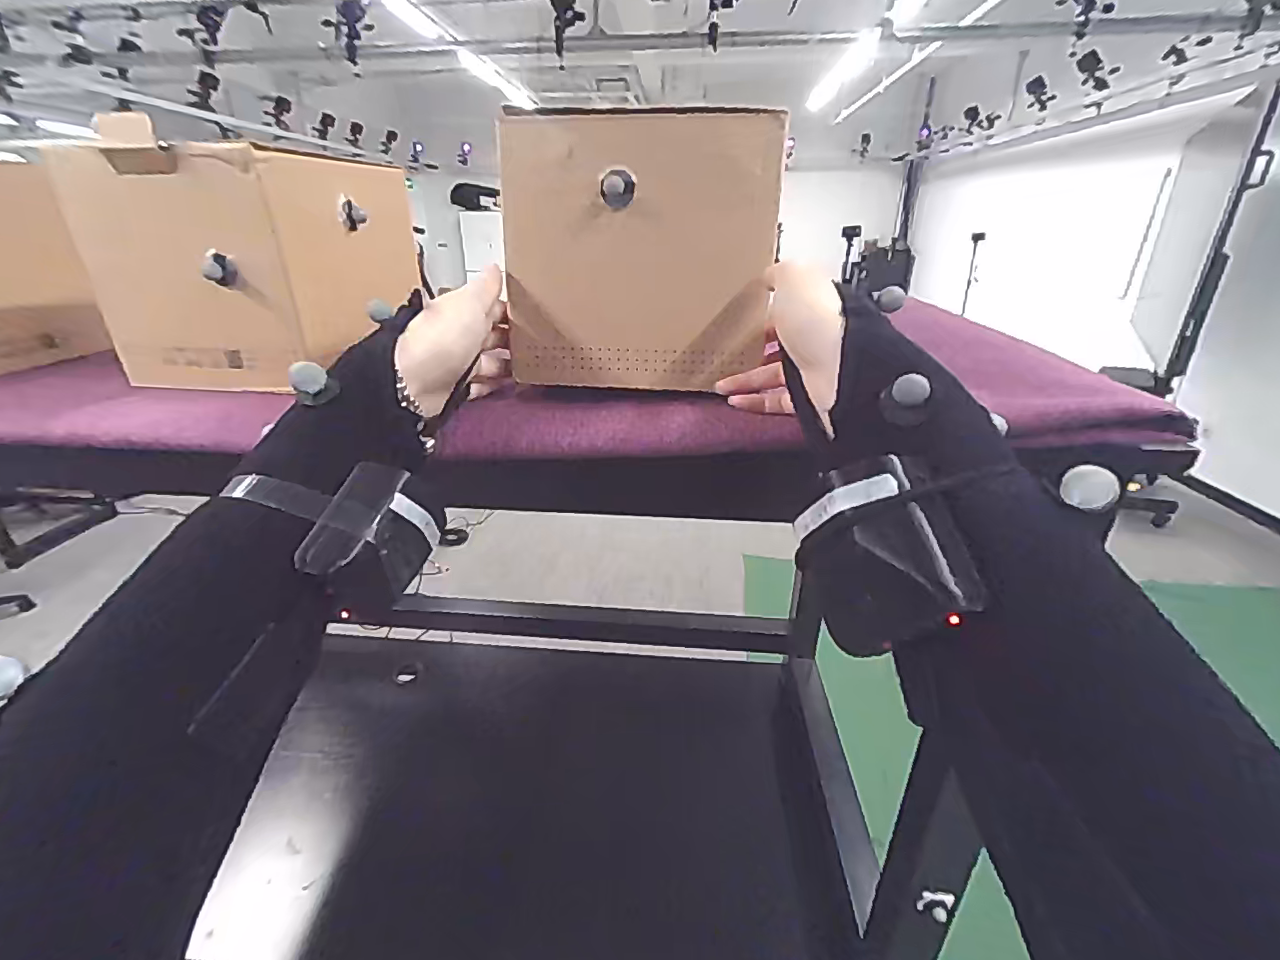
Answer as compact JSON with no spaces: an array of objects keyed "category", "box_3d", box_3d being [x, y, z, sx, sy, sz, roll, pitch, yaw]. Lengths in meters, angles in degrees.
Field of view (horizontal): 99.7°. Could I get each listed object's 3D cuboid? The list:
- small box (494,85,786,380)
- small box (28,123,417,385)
[{"category":"small box","box_3d":[0.006,-0.172,0.413,0.179,0.176,0.168,4,21,6]},{"category":"small box","box_3d":[-0.308,-0.181,0.450,0.168,0.176,0.179,4,25,7]}]
